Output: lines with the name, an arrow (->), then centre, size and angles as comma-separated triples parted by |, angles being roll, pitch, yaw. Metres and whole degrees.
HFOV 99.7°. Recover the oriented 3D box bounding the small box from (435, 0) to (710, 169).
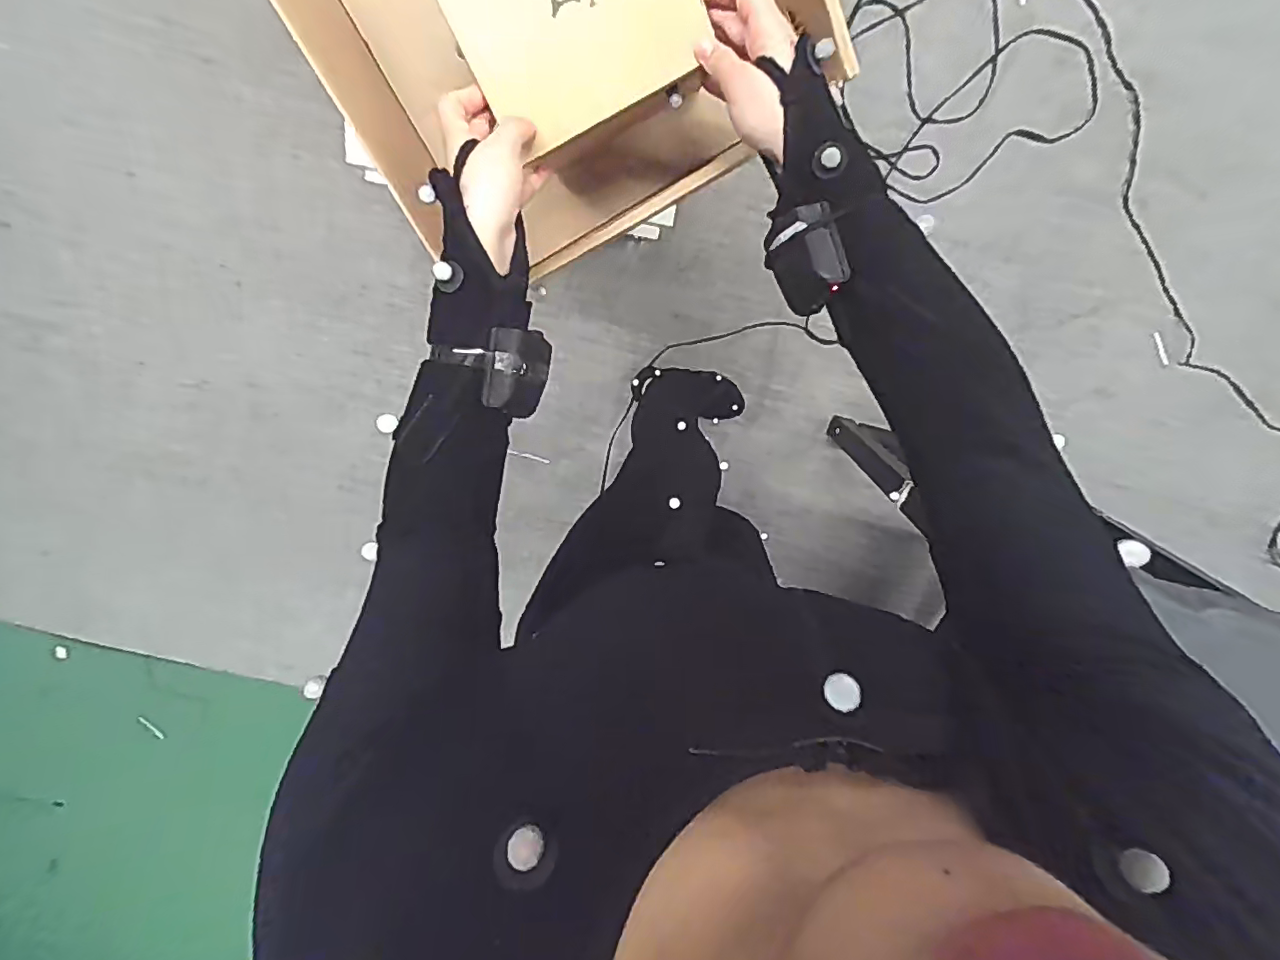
small box -> -0.056, -0.391, 0.463 | 0.179, 0.176, 0.168 | -23, 114, 11
